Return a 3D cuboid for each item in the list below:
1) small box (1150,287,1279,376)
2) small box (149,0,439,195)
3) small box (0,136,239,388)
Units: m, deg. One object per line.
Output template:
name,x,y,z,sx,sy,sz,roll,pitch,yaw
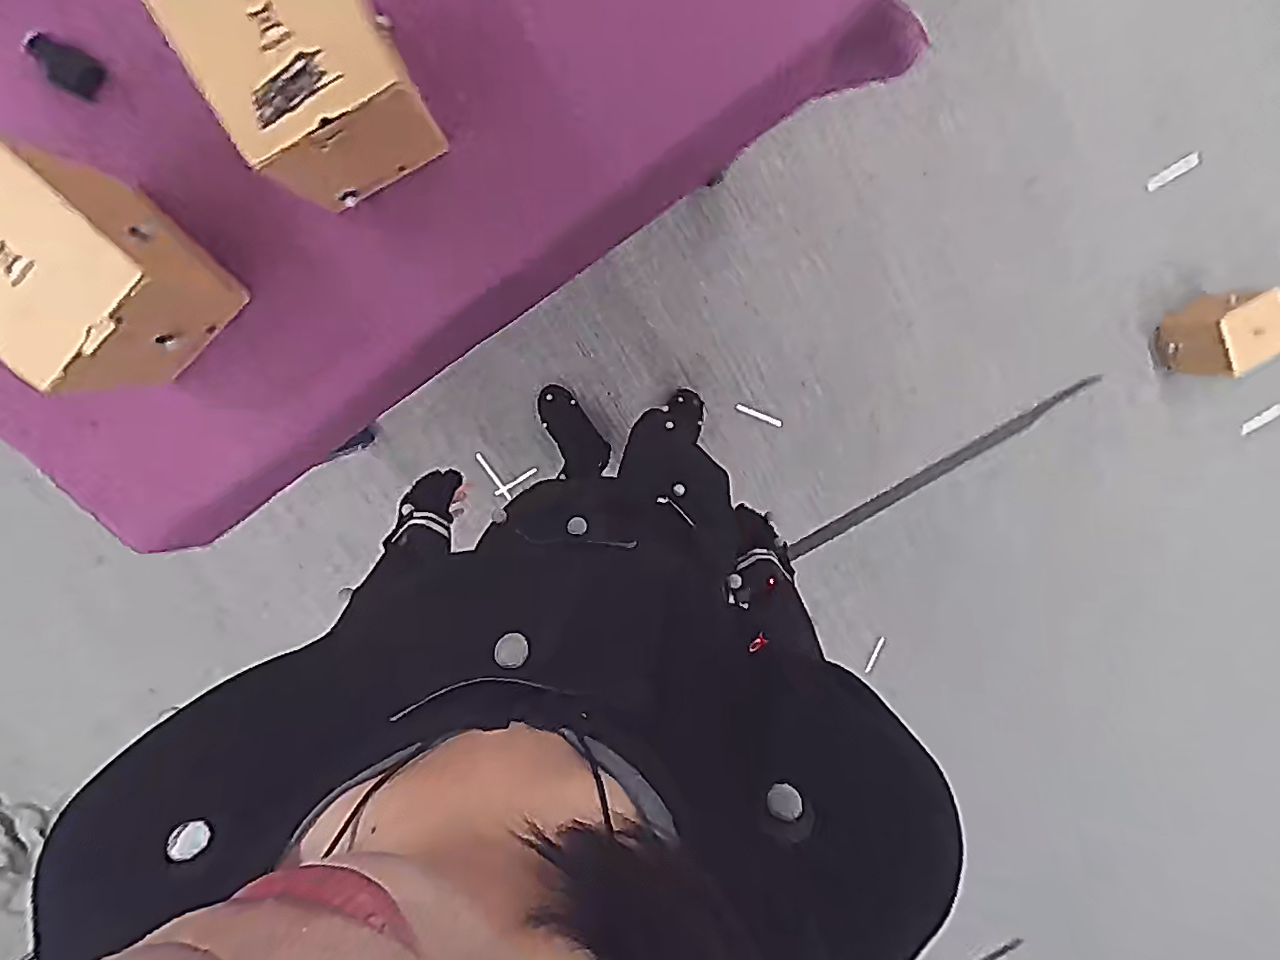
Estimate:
small box,1.573,-0.401,1.478,0.179,0.176,0.168,-31,102,3
small box,-0.340,-0.427,0.563,0.168,0.176,0.179,-28,102,1
small box,-0.598,-0.223,0.585,0.168,0.176,0.179,-44,103,5
